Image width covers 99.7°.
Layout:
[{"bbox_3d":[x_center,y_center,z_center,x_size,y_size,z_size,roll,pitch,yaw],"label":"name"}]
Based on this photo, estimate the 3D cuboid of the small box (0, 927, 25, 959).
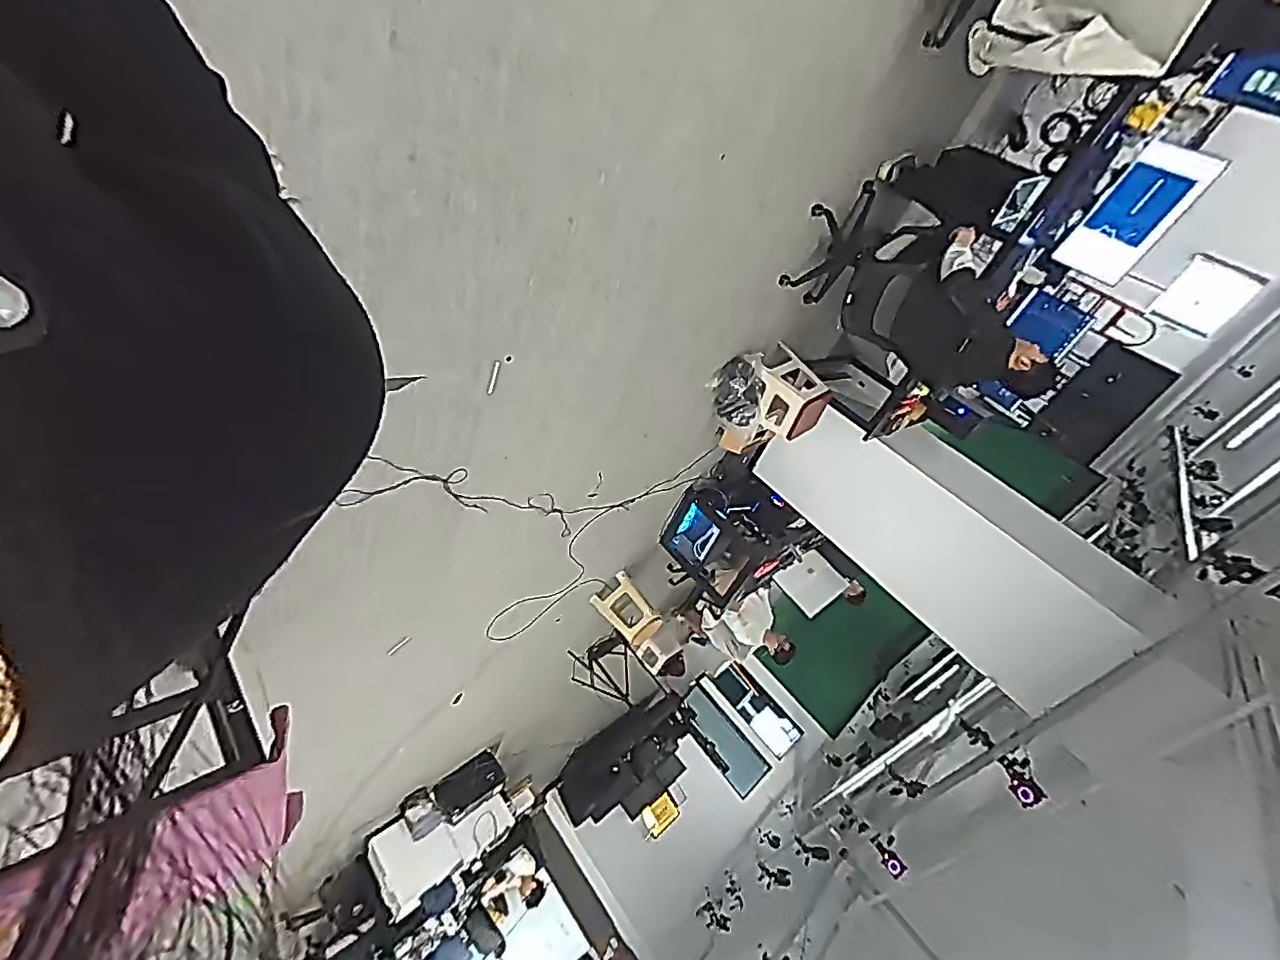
[{"bbox_3d":[-1.308,1.015,1.037,0.168,0.176,0.179,-16,142,-48],"label":"small box"}]
